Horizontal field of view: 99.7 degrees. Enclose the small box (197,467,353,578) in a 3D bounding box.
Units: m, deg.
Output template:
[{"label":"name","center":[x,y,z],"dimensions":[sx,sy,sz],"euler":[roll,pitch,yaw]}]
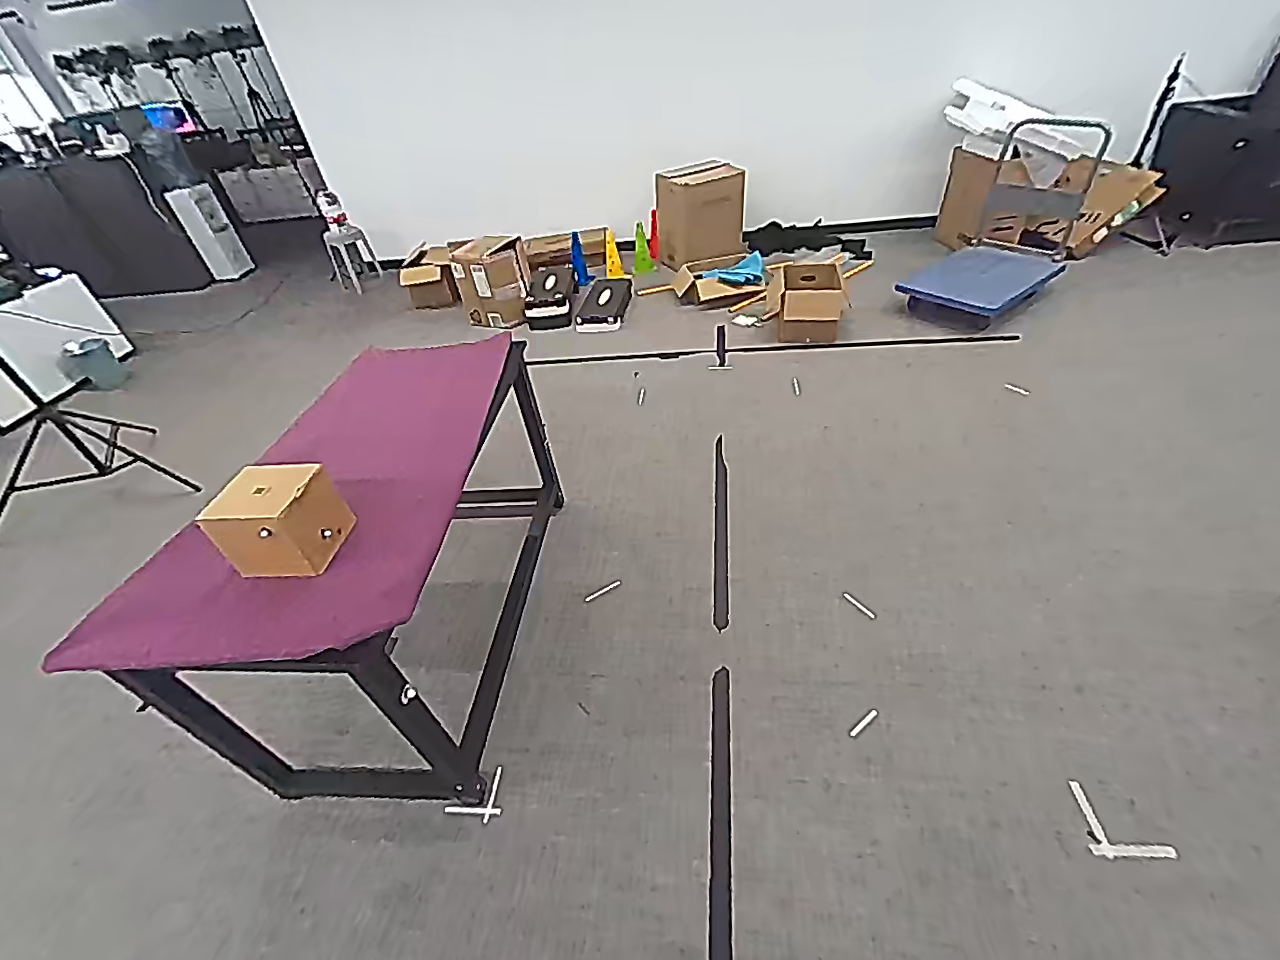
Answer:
[{"label":"small box","center":[-0.741,0.090,1.121],"dimensions":[0.179,0.176,0.168],"euler":[-2,40,6]}]
